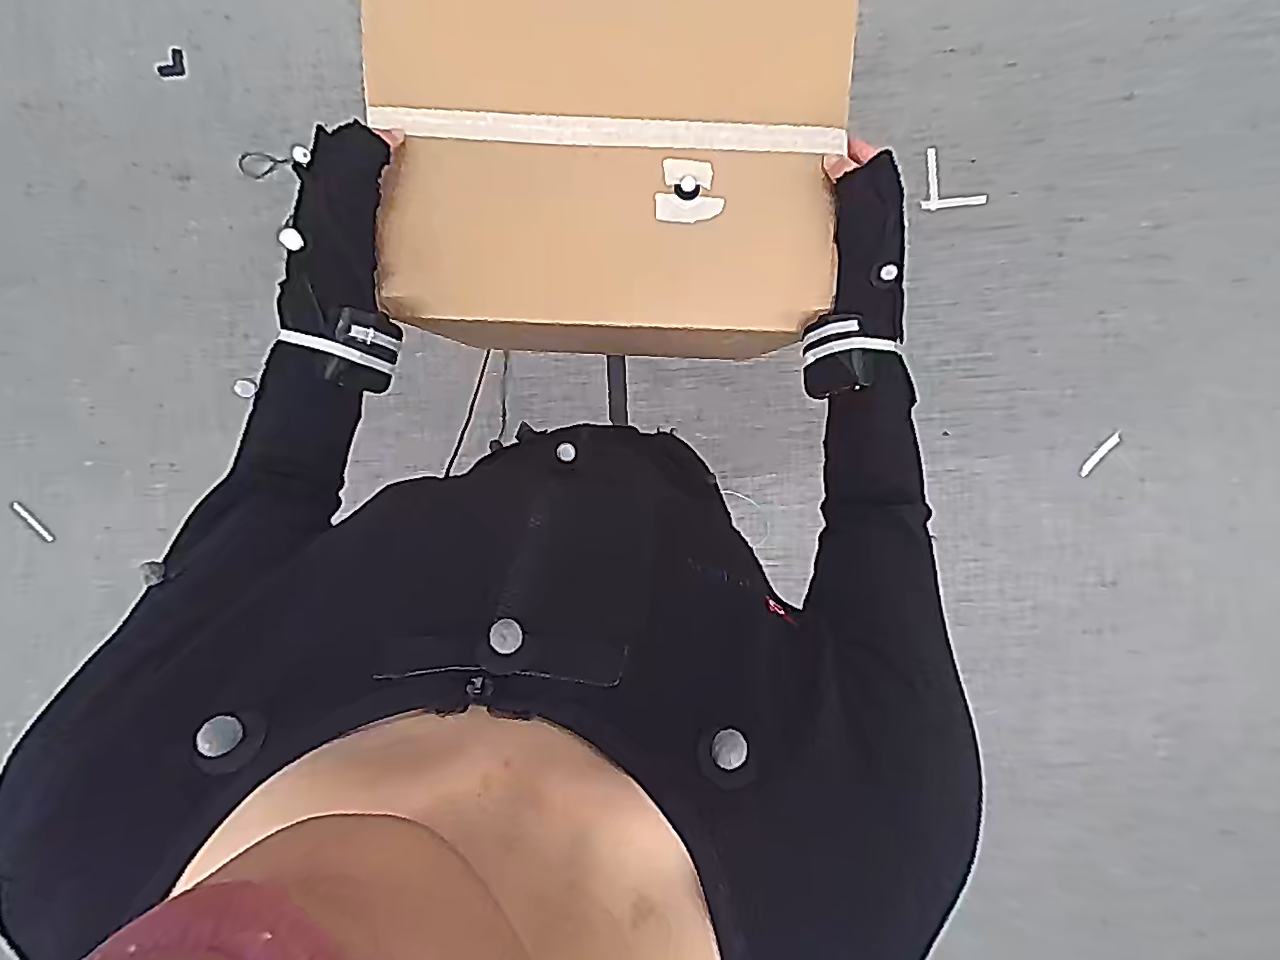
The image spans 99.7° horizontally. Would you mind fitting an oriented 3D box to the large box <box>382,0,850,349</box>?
[{"bbox_3d":[-0.027,-0.324,0.617,0.408,0.320,0.320,1,98,-2],"label":"large box"}]
